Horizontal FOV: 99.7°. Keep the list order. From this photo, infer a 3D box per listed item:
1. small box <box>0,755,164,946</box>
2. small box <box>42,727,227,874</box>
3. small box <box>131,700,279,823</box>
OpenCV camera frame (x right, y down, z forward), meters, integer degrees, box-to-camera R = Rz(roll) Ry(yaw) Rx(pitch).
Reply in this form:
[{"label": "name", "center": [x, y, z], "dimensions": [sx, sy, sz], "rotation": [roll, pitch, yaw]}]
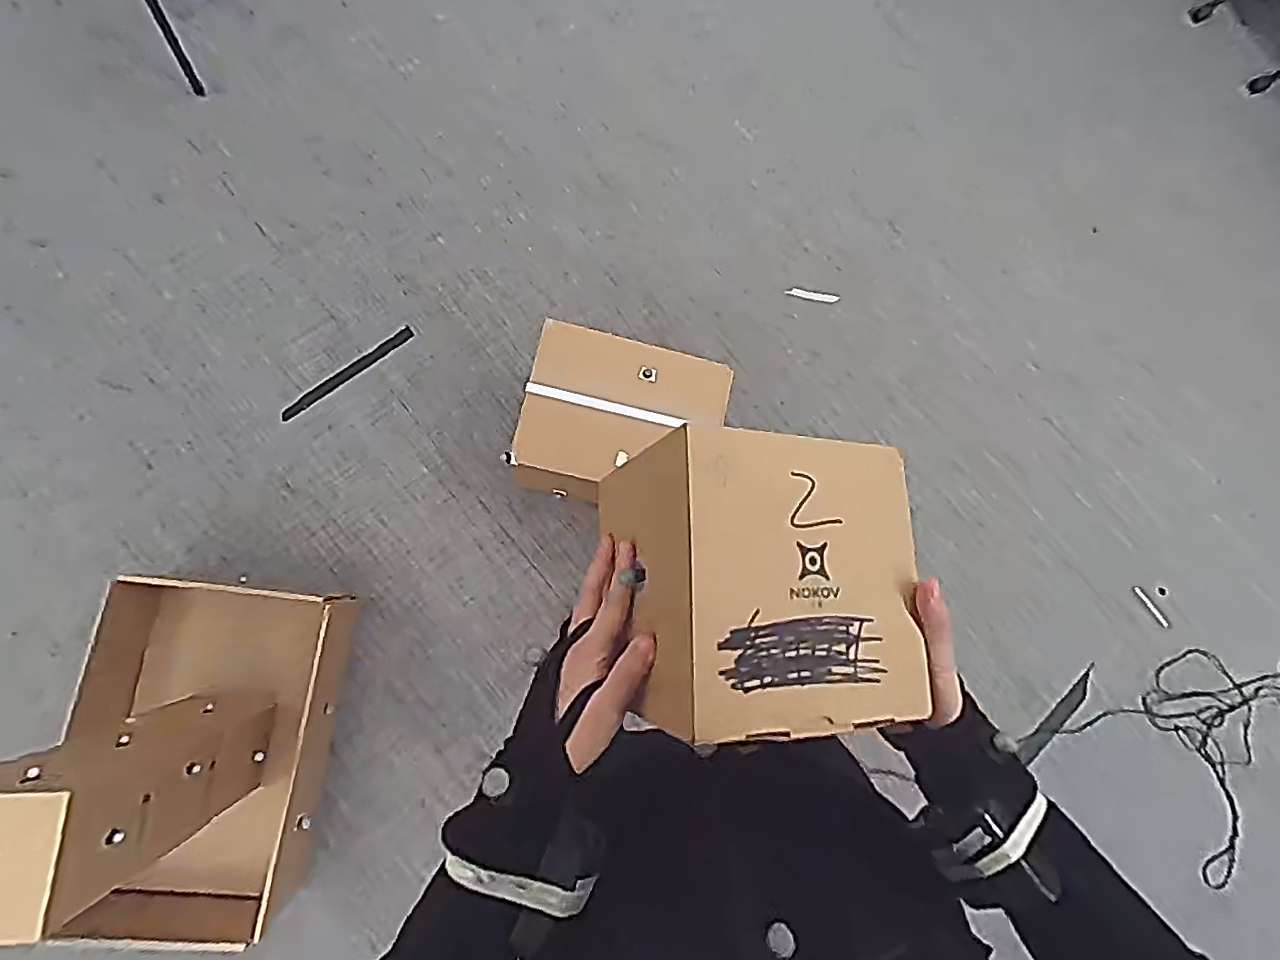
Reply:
[{"label": "small box", "center": [-0.795, 0.478, 0.721], "dimensions": [0.179, 0.176, 0.168], "rotation": [3, 78, -9]}, {"label": "small box", "center": [-0.823, 0.511, 0.882], "dimensions": [0.179, 0.176, 0.168], "rotation": [3, 79, -7]}, {"label": "small box", "center": [-0.844, 0.531, 1.041], "dimensions": [0.179, 0.176, 0.168], "rotation": [8, 80, -8]}]
